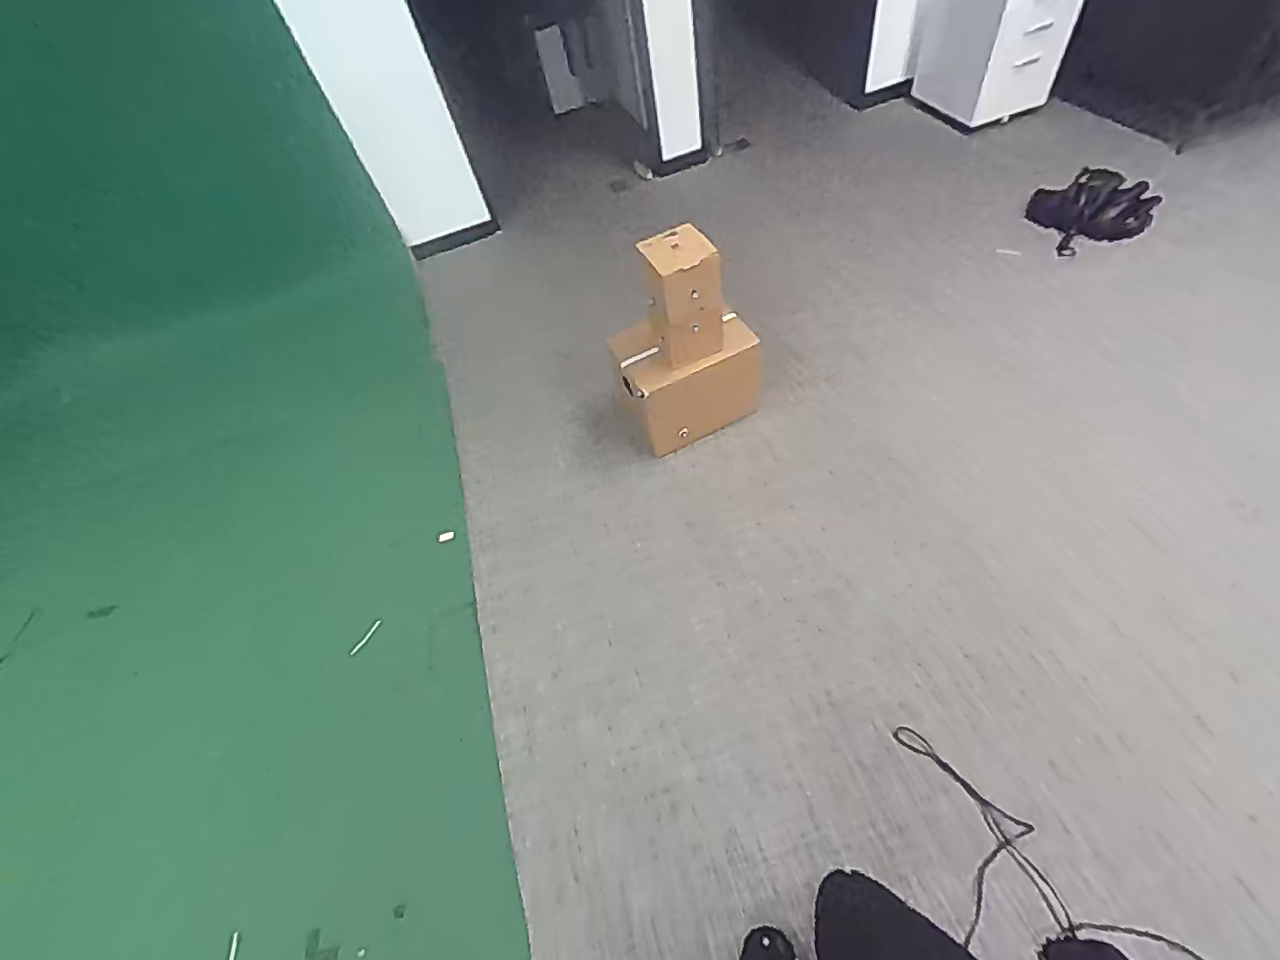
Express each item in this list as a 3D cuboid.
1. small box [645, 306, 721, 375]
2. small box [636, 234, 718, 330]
[{"bbox_3d":[0.135,-0.447,1.628,0.179,0.176,0.168,-24,54,-7],"label":"small box"},{"bbox_3d":[0.107,-0.539,1.496,0.168,0.176,0.179,-25,55,-7],"label":"small box"}]
